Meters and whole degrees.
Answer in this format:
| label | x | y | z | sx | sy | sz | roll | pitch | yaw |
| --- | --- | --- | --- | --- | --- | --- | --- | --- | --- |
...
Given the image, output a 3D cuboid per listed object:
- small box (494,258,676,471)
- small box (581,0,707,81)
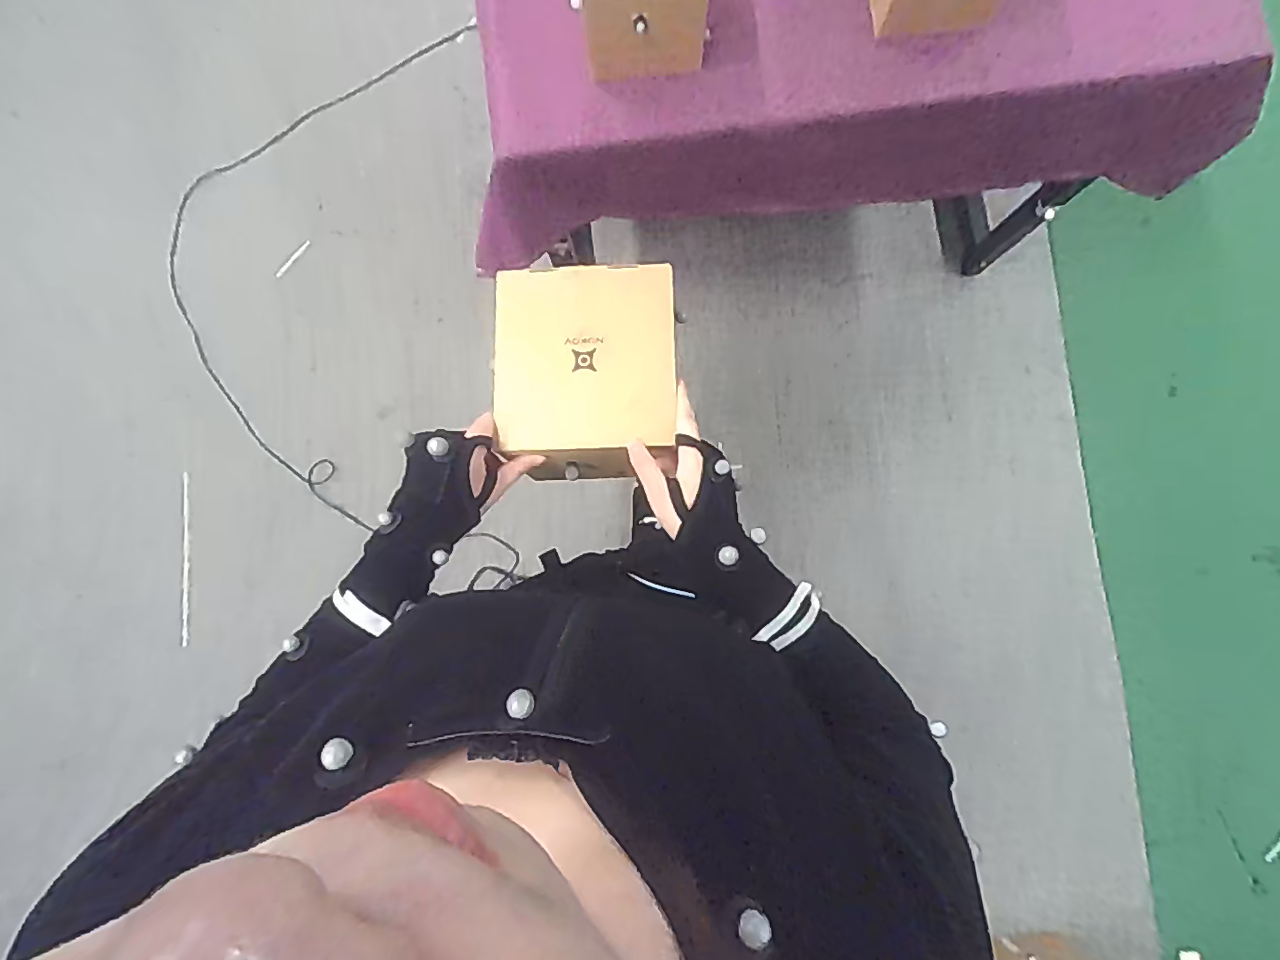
| label | x | y | z | sx | sy | sz | roll | pitch | yaw |
| --- | --- | --- | --- | --- | --- | --- | --- | --- | --- |
| small box | -0.047 | -0.106 | 0.568 | 0.168 | 0.176 | 0.179 | -2 | 80 | 1 |
| small box | 0.002 | -0.718 | 0.776 | 0.179 | 0.176 | 0.168 | -5 | 84 | 1 |
